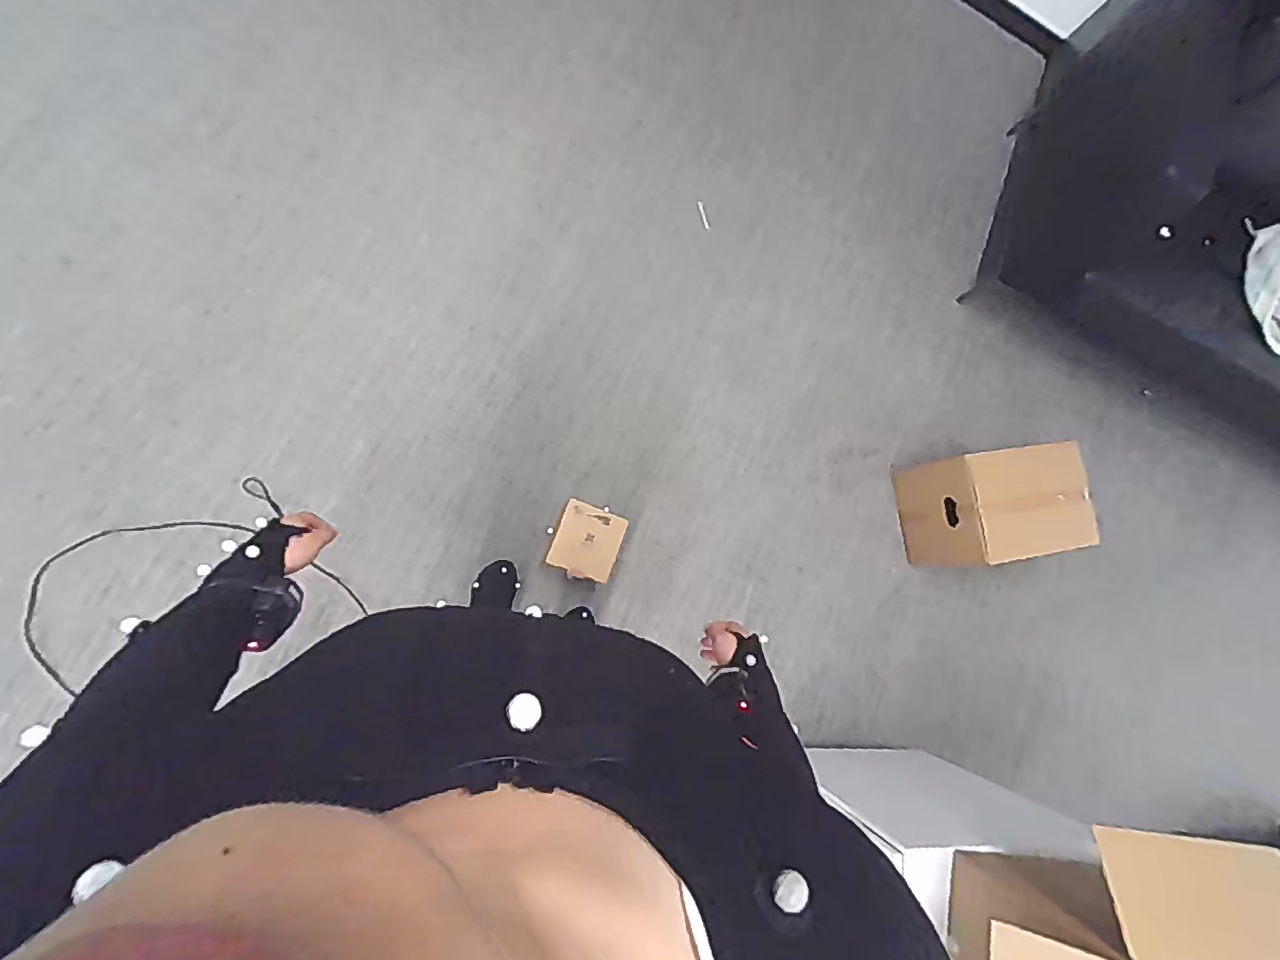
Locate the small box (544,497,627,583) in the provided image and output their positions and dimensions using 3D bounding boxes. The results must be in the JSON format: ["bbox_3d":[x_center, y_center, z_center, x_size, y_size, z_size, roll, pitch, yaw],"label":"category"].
[{"bbox_3d":[-0.152,0.163,1.452,0.168,0.176,0.179,23,78,-10],"label":"small box"}]
